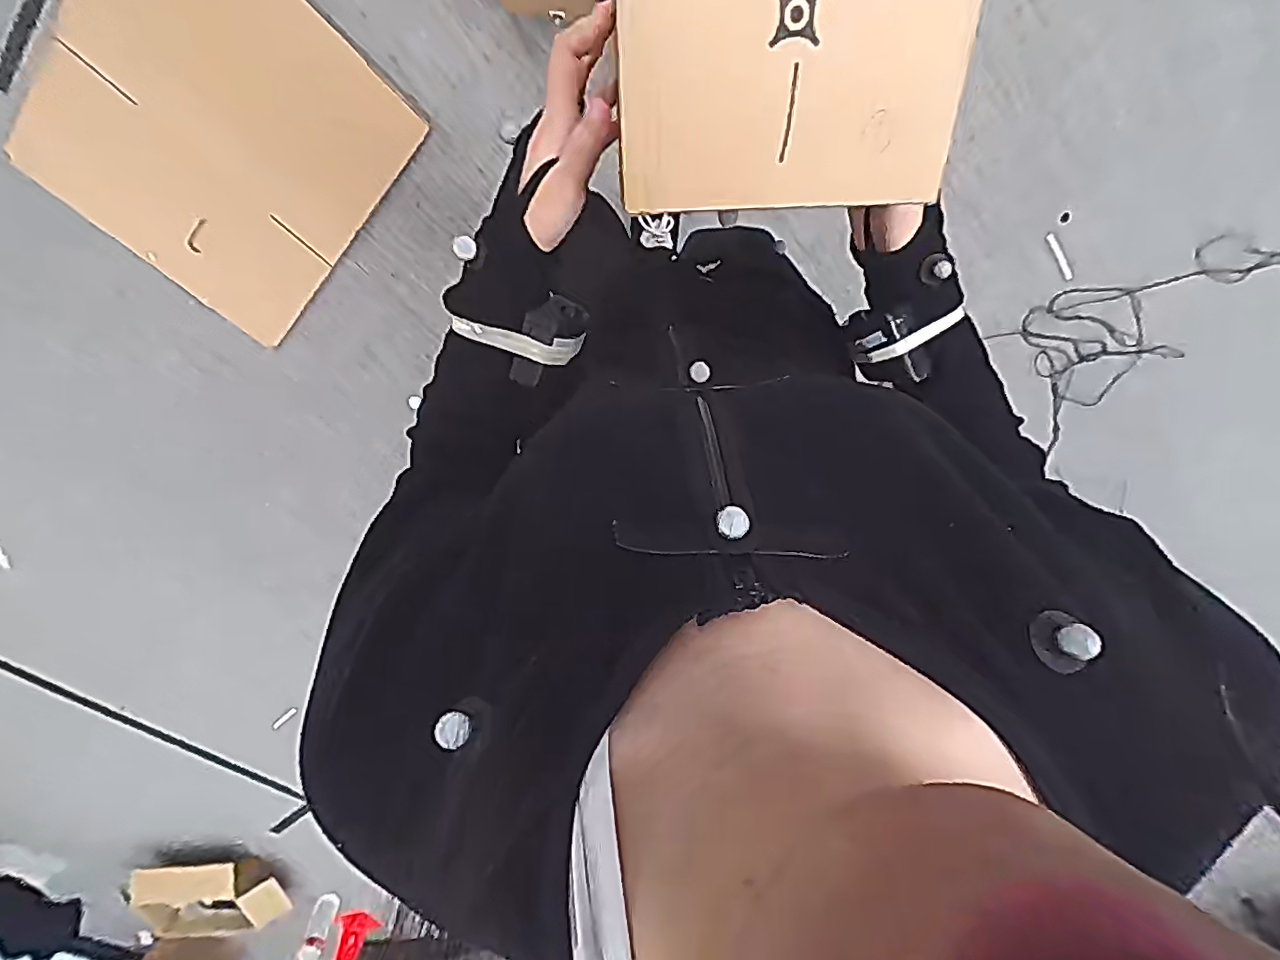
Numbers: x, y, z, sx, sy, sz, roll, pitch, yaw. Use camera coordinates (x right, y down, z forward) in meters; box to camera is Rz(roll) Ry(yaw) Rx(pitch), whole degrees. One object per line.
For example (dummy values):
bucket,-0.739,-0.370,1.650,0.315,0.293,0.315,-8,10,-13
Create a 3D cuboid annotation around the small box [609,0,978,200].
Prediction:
small box,0.066,-0.260,0.306,0.168,0.176,0.179,-2,120,-1
